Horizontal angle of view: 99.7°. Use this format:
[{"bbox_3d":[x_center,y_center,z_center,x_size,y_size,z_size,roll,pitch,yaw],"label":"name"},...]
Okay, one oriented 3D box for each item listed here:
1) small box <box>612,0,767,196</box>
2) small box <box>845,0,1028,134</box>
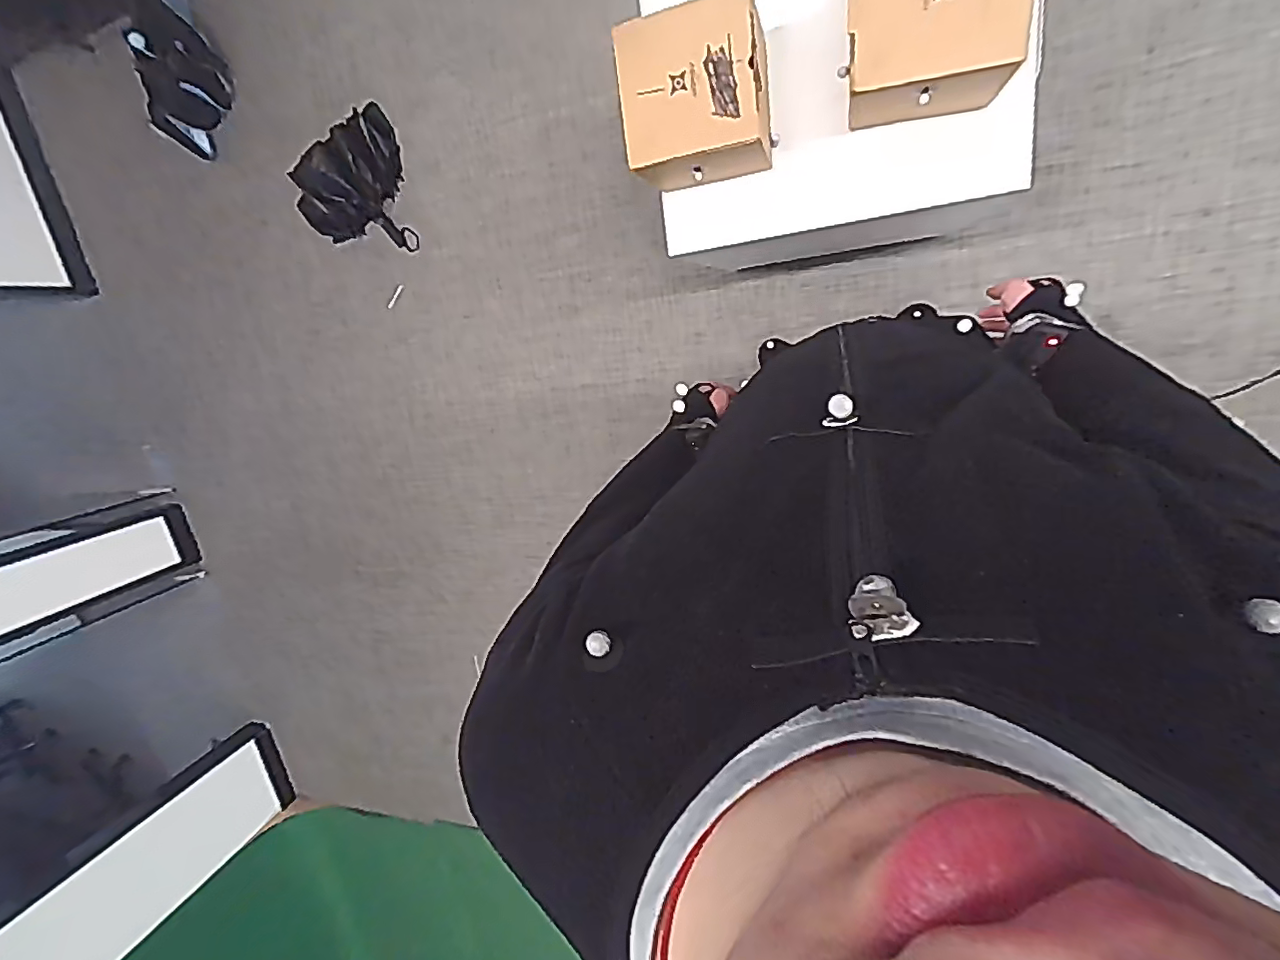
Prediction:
[{"bbox_3d":[0.080,-0.512,0.749,0.179,0.176,0.168,-2,106,21],"label":"small box"},{"bbox_3d":[0.342,-0.539,0.649,0.179,0.176,0.168,2,109,19],"label":"small box"}]
